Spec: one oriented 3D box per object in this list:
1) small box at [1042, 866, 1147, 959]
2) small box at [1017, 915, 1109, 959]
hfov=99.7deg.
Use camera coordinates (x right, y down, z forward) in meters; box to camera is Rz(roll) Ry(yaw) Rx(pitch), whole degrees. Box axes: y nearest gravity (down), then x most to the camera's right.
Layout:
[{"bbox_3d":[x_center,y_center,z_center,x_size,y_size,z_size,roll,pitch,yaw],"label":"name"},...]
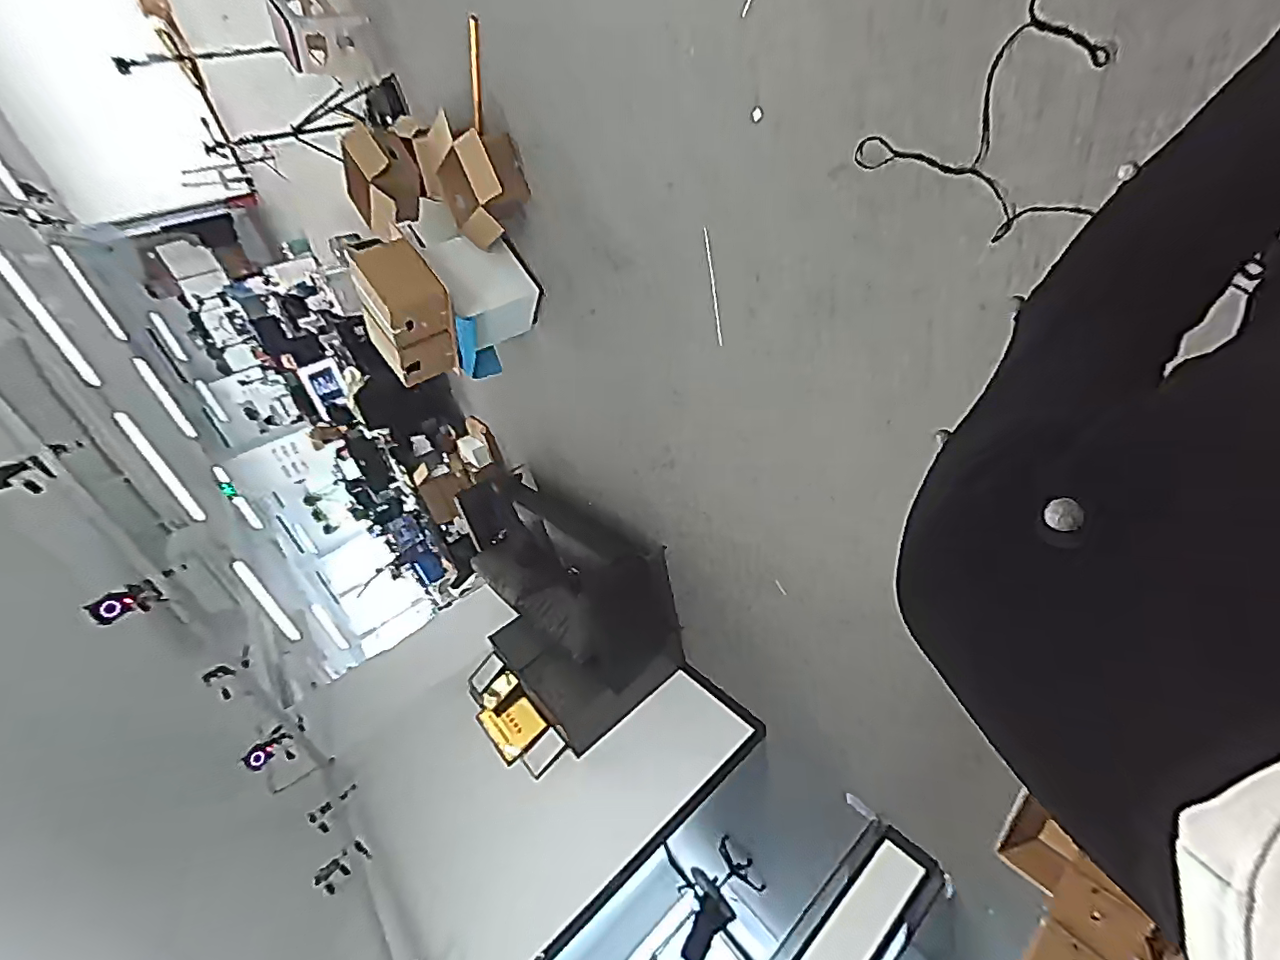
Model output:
[{"bbox_3d":[1.134,1.130,1.361,0.168,0.176,0.179,24,136,49],"label":"small box"},{"bbox_3d":[1.004,1.192,1.278,0.168,0.176,0.179,30,140,42],"label":"small box"}]
